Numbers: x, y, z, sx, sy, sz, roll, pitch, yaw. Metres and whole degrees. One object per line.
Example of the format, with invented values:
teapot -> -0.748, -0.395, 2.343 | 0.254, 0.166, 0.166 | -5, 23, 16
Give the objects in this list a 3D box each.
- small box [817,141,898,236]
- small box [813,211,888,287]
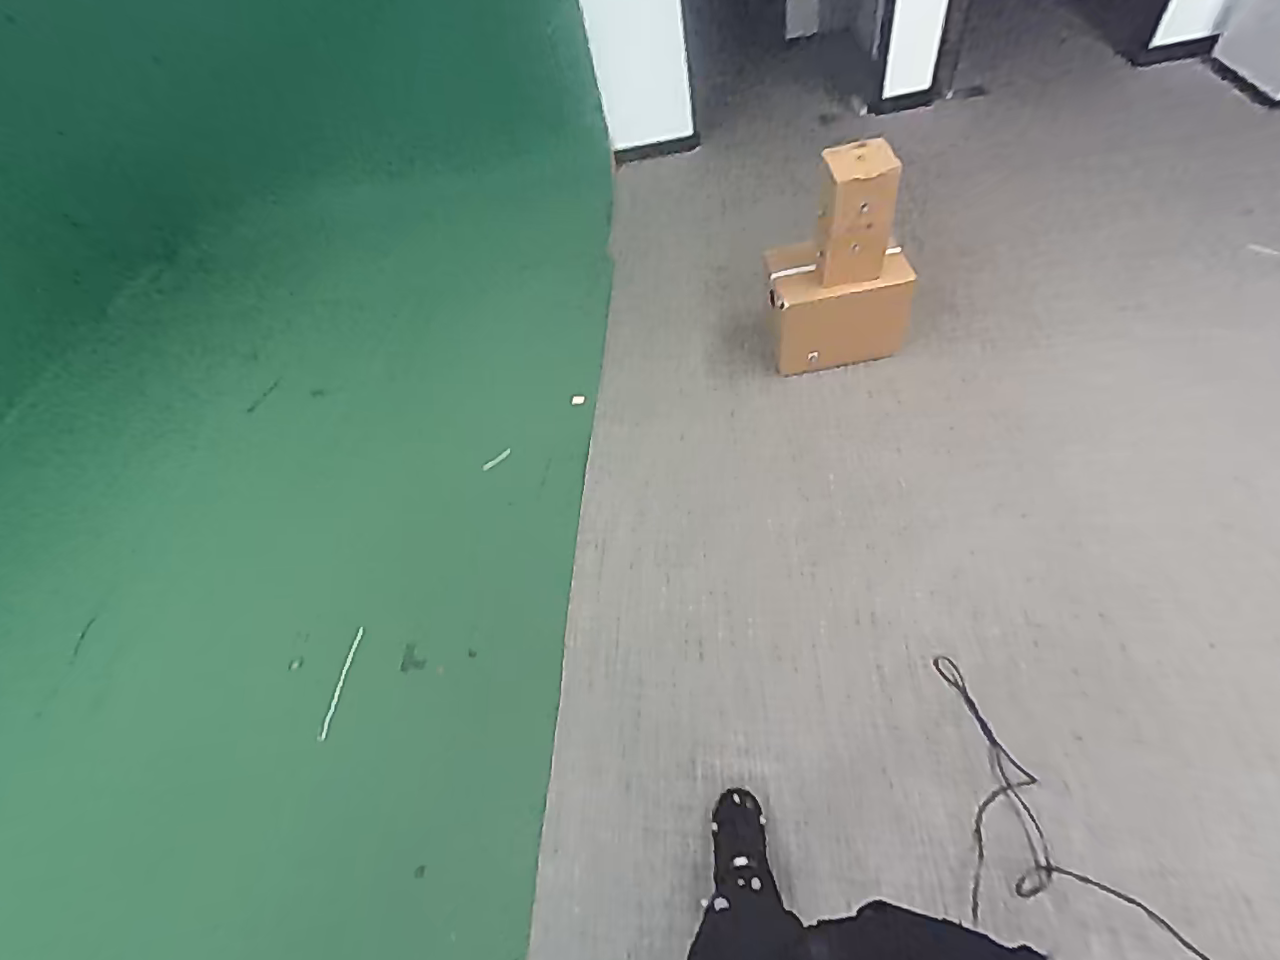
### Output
small box -> 0.602, -0.807, 1.515 | 0.168, 0.176, 0.179 | -8, 55, 8
small box -> 0.631, -0.711, 1.645 | 0.179, 0.176, 0.168 | -7, 55, 7
